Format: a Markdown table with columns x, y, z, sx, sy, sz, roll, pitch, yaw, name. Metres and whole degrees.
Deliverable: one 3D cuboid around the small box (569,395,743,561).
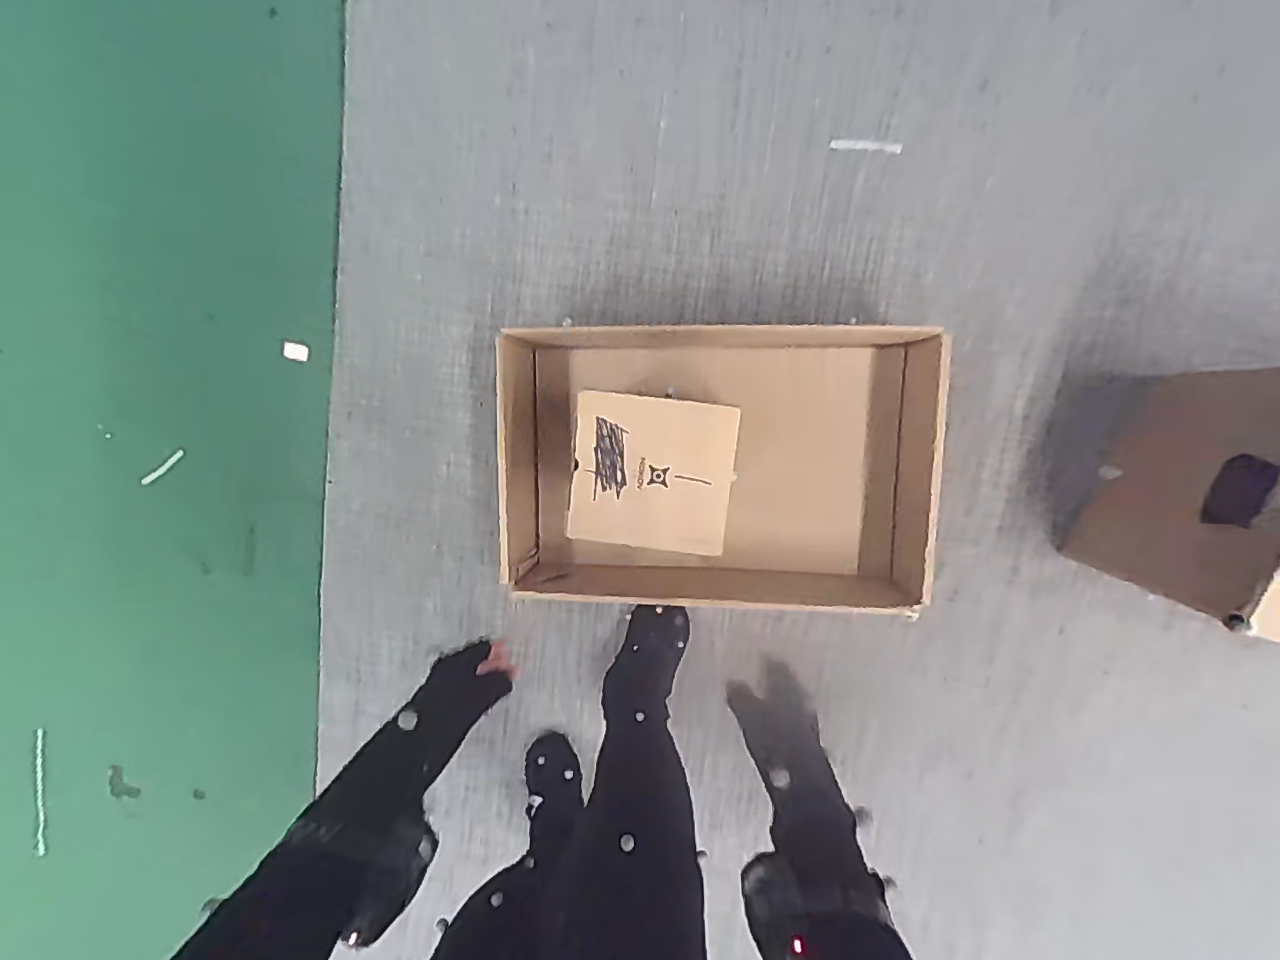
| x | y | z | sx | sy | sz | roll | pitch | yaw | name |
| --- | --- | --- | --- | --- | --- | --- | --- | --- | --- |
| 0.021 | -0.011 | 0.667 | 0.179 | 0.176 | 0.168 | 7 | 99 | 3 | small box |
